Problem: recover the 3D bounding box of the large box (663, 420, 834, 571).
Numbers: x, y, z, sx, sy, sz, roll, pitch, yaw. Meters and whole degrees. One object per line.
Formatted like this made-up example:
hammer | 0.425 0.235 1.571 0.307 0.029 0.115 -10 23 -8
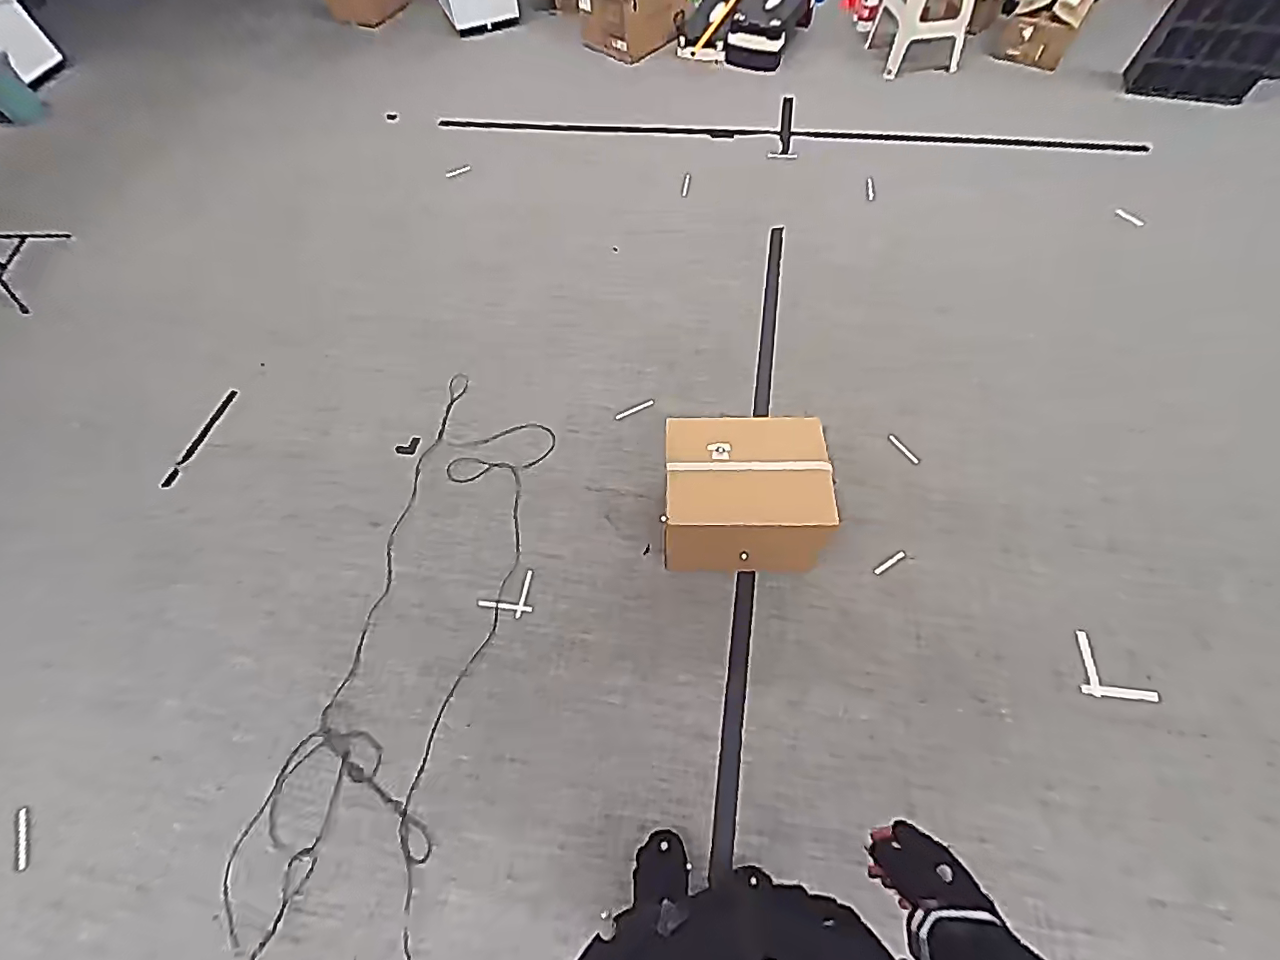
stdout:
large box | 0.270 0.052 1.472 0.408 0.320 0.320 0 60 4
